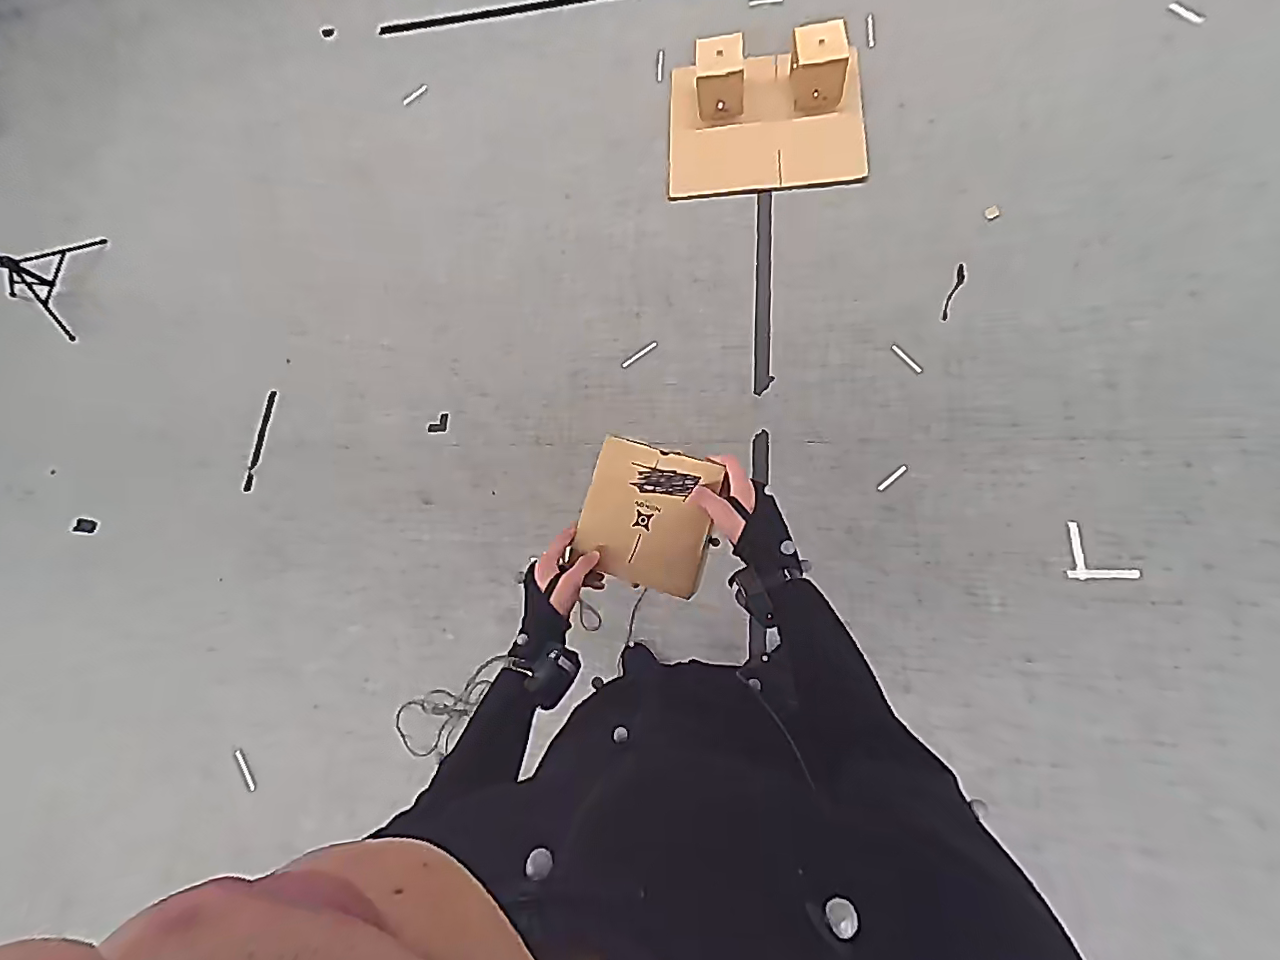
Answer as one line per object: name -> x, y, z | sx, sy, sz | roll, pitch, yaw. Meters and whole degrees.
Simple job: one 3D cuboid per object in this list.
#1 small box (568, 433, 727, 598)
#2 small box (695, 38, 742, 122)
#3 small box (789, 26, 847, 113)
small box -> 0.020, 0.052, 0.761 | 0.168, 0.176, 0.179 | 16, 85, 12
small box -> 0.292, -1.467, 1.990 | 0.168, 0.176, 0.179 | -1, 75, 11
small box -> 0.632, -1.466, 1.937 | 0.168, 0.176, 0.179 | -4, 74, 9
